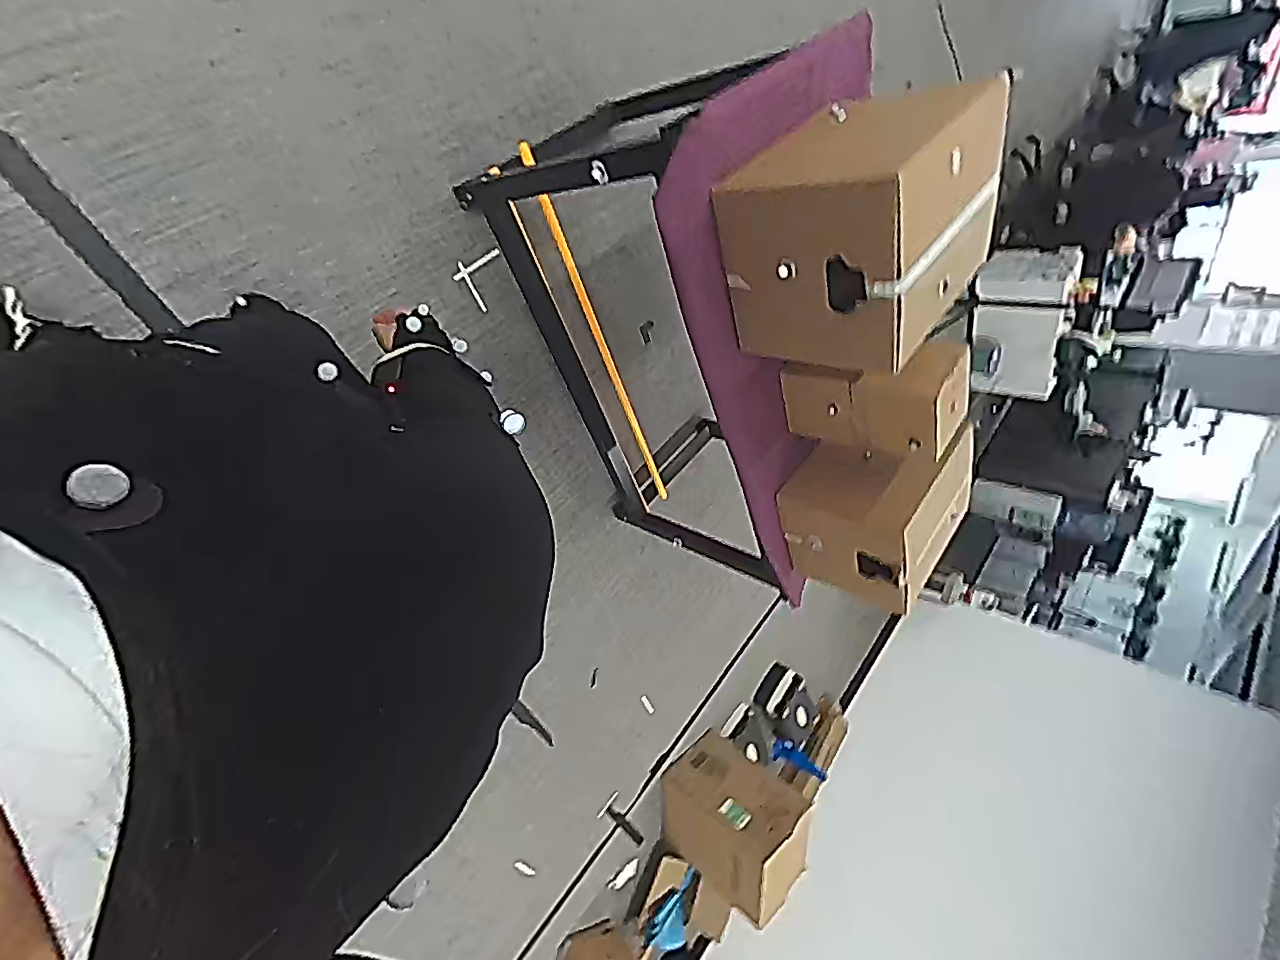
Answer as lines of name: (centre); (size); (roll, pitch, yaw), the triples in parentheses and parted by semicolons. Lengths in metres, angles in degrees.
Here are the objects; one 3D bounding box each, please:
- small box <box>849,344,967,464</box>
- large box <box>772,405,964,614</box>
small box: (0.557, -0.165, 1.129); (0.168, 0.176, 0.179); (-48, 134, -24)
large box: (0.597, 0.058, 1.407); (0.408, 0.320, 0.320); (-46, 134, -26)
